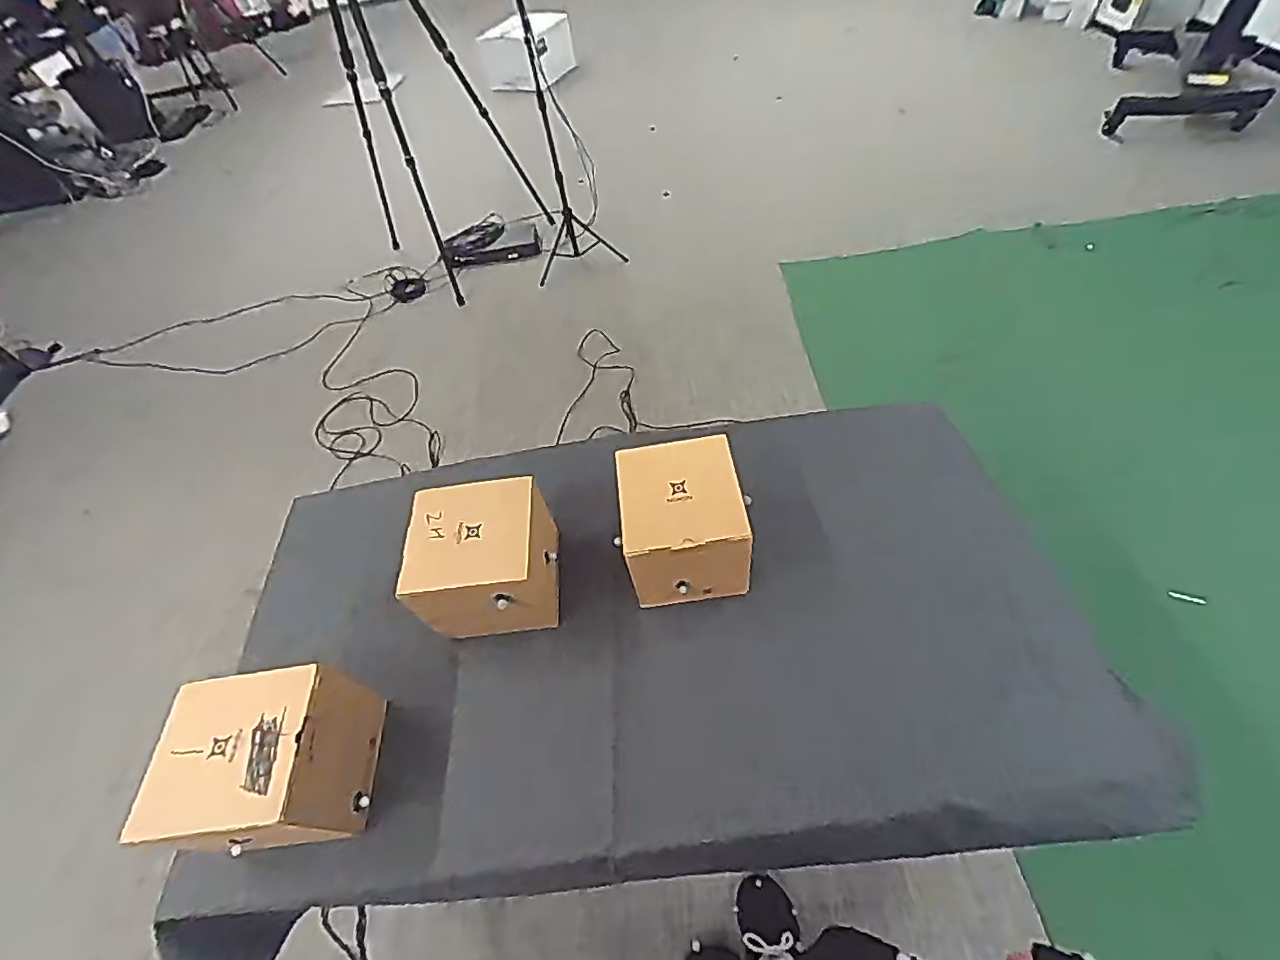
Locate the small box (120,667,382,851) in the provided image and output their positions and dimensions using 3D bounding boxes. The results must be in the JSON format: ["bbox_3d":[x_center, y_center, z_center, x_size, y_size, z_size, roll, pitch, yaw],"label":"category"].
[{"bbox_3d":[-0.448,0.345,0.663,0.179,0.176,0.168,-9,52,2],"label":"small box"}]

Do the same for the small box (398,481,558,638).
[{"bbox_3d":[-0.221,0.121,0.797,0.179,0.176,0.168,-7,54,3],"label":"small box"}]

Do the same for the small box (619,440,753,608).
[{"bbox_3d":[0.063,0.068,0.800,0.168,0.176,0.179,-8,54,2],"label":"small box"}]
